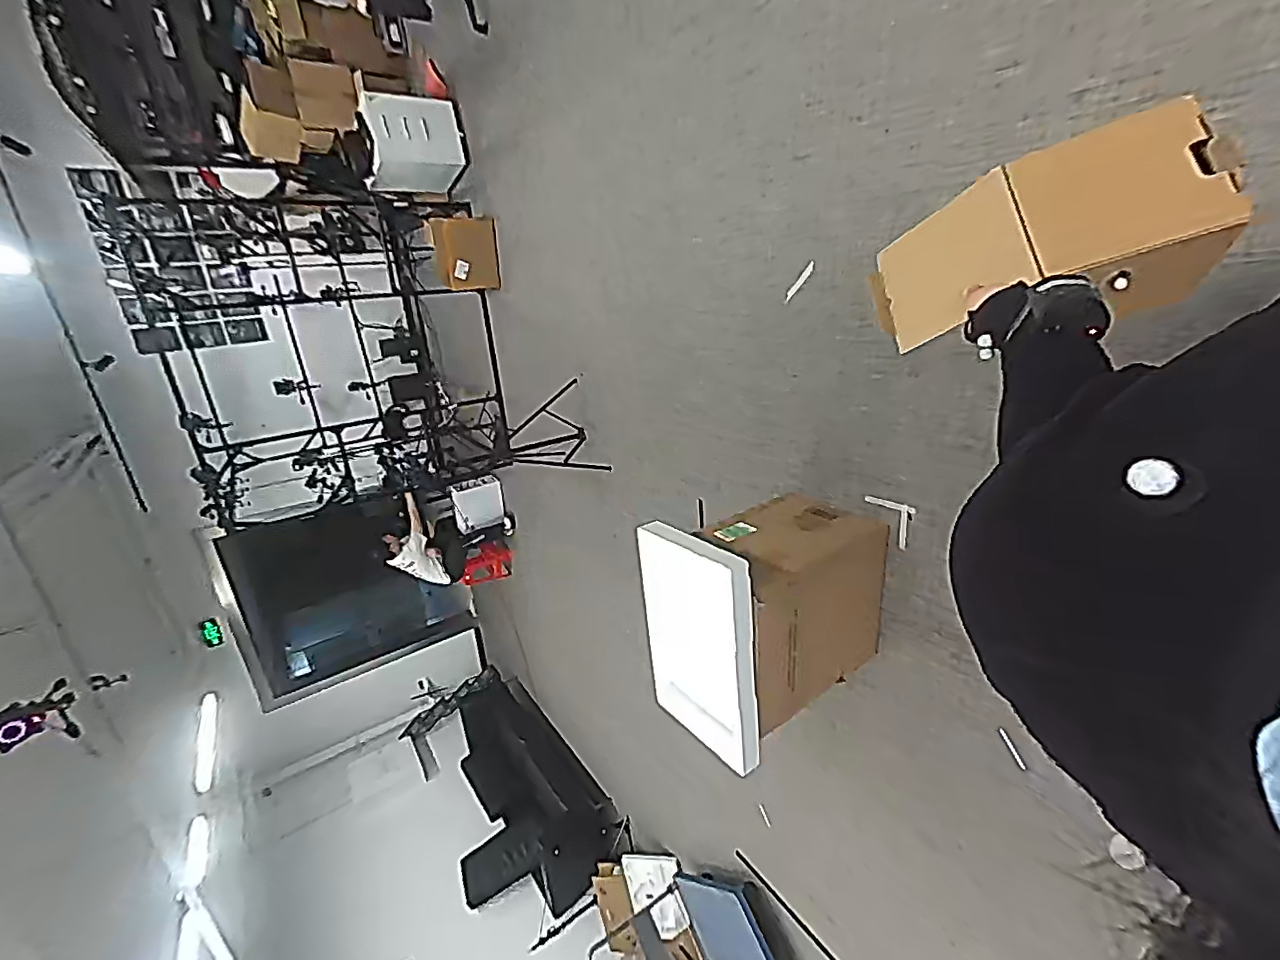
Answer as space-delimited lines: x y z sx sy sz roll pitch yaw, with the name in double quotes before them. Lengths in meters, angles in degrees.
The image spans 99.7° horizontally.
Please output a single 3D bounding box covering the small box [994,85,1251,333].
"small box" 0.540 -0.299 0.642 0.179 0.176 0.168 -12 73 25
